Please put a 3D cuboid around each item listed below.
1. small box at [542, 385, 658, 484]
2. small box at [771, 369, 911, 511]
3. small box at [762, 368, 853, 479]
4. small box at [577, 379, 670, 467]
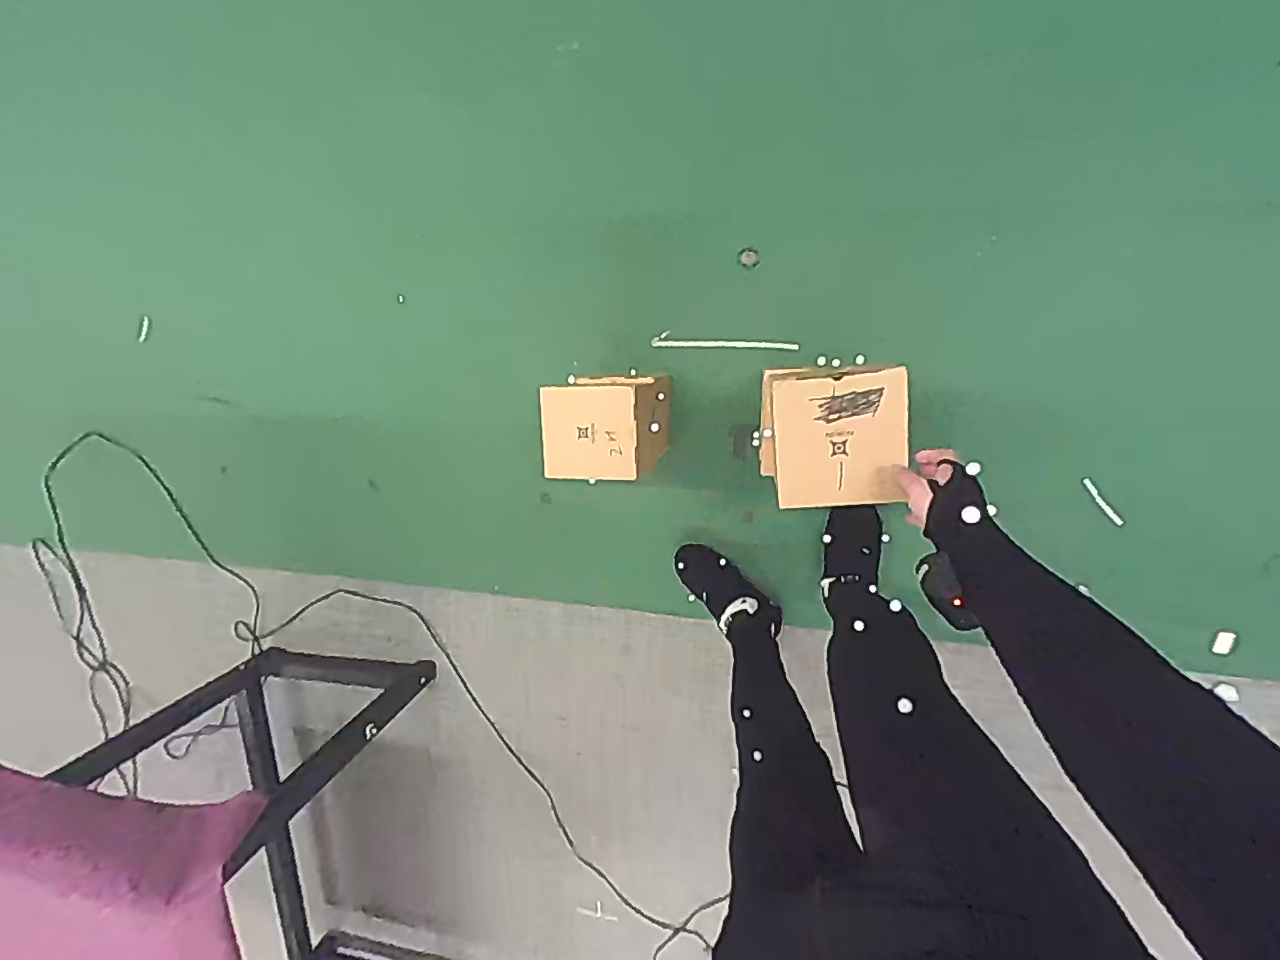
[{"bbox_3d":[-0.069,-0.092,1.022,0.179,0.176,0.168,2,102,13],"label":"small box"},{"bbox_3d":[0.277,-0.065,0.773,0.168,0.176,0.179,-4,103,13],"label":"small box"},{"bbox_3d":[0.298,-0.101,0.931,0.168,0.176,0.179,2,103,12],"label":"small box"},{"bbox_3d":[-0.028,-0.129,1.177,0.168,0.176,0.179,2,101,14],"label":"small box"}]
